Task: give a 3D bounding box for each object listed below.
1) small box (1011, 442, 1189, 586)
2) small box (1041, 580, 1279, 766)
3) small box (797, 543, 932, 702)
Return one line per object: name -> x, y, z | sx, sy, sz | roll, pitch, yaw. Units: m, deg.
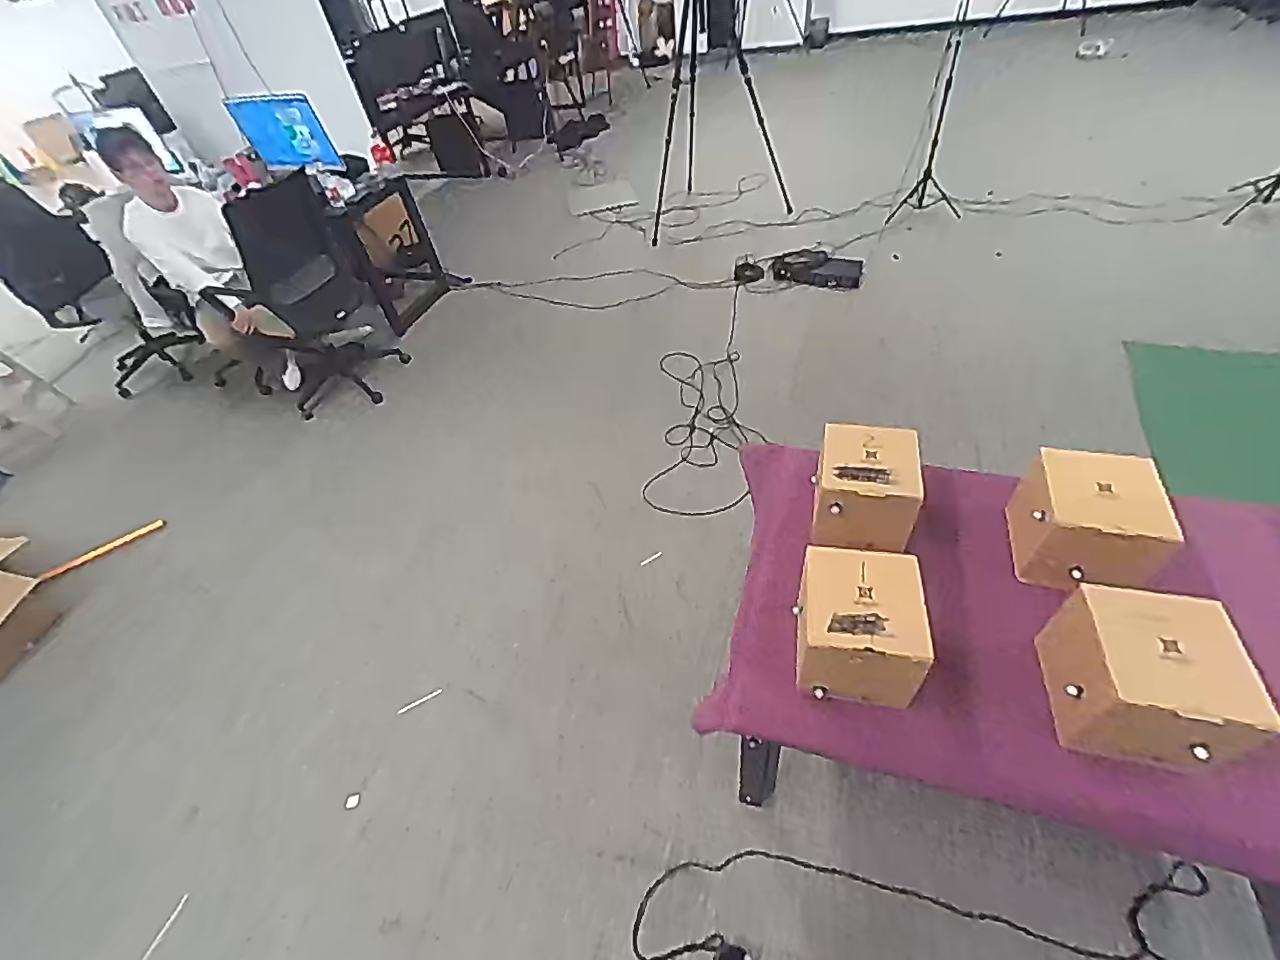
small box -> 0.760, 0.063, 0.922 | 0.168, 0.176, 0.179 | 8, 51, 17
small box -> 0.691, 0.266, 0.744 | 0.168, 0.176, 0.179 | 7, 48, 16
small box -> 0.339, 0.224, 0.847 | 0.168, 0.176, 0.179 | 4, 47, 14
